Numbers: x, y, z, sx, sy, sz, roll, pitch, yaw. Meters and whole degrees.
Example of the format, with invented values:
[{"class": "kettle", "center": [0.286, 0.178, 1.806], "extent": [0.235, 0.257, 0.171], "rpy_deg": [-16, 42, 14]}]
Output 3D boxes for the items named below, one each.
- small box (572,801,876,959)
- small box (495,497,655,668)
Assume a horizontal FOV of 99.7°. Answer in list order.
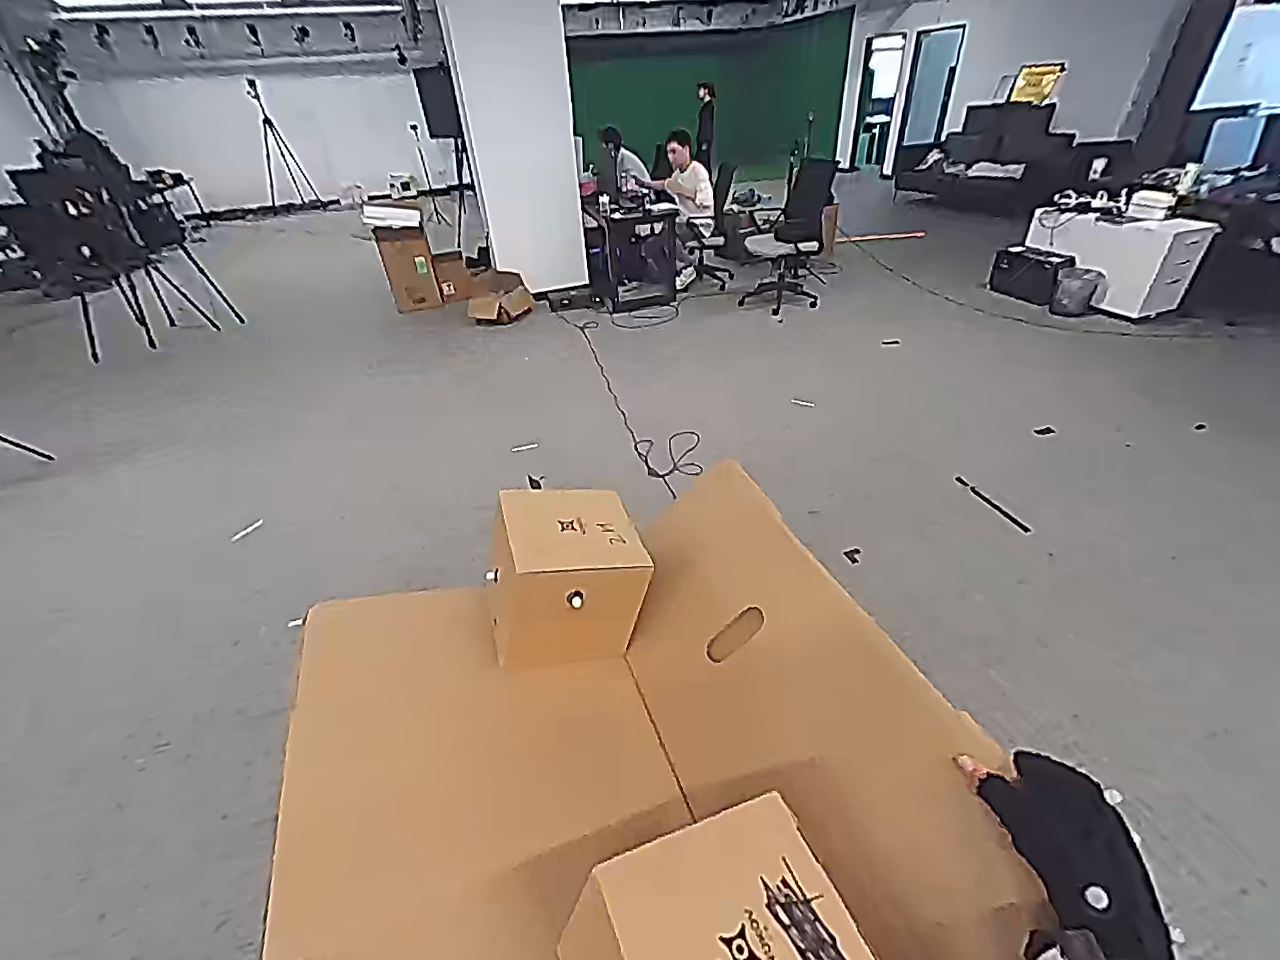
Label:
[{"class": "small box", "center": [0.060, 0.393, 0.416], "extent": [0.179, 0.176, 0.168], "rpy_deg": [-3, 37, -28]}, {"class": "small box", "center": [-0.102, 0.139, 0.745], "extent": [0.179, 0.176, 0.168], "rpy_deg": [2, 34, -23]}]
